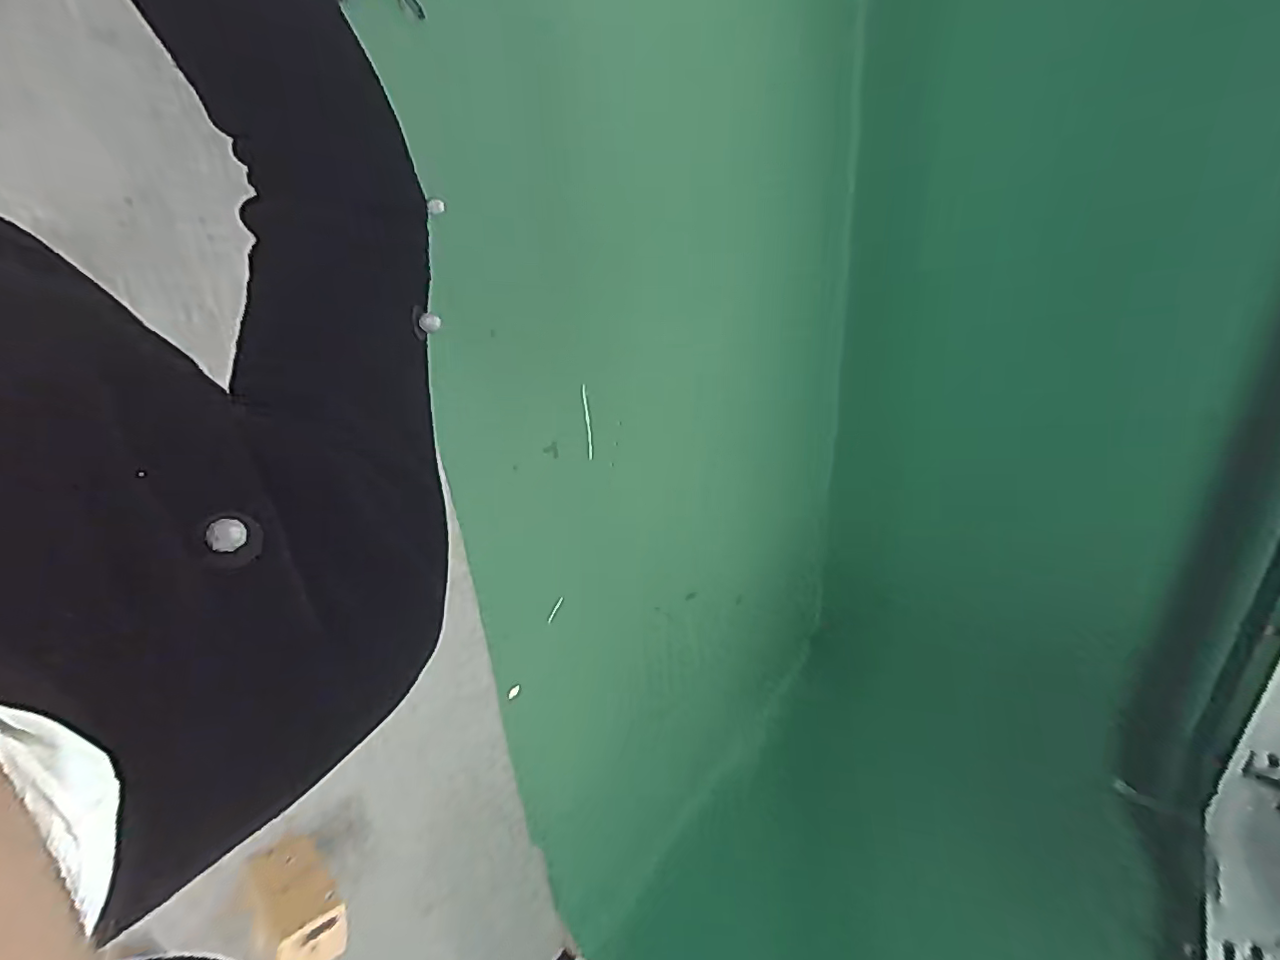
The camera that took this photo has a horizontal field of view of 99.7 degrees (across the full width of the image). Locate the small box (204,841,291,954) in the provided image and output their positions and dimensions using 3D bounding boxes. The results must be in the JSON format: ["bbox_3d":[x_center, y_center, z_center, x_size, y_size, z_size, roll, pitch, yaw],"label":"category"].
[{"bbox_3d":[-1.158,1.210,1.590,0.168,0.176,0.179,2,103,-50],"label":"small box"}]
